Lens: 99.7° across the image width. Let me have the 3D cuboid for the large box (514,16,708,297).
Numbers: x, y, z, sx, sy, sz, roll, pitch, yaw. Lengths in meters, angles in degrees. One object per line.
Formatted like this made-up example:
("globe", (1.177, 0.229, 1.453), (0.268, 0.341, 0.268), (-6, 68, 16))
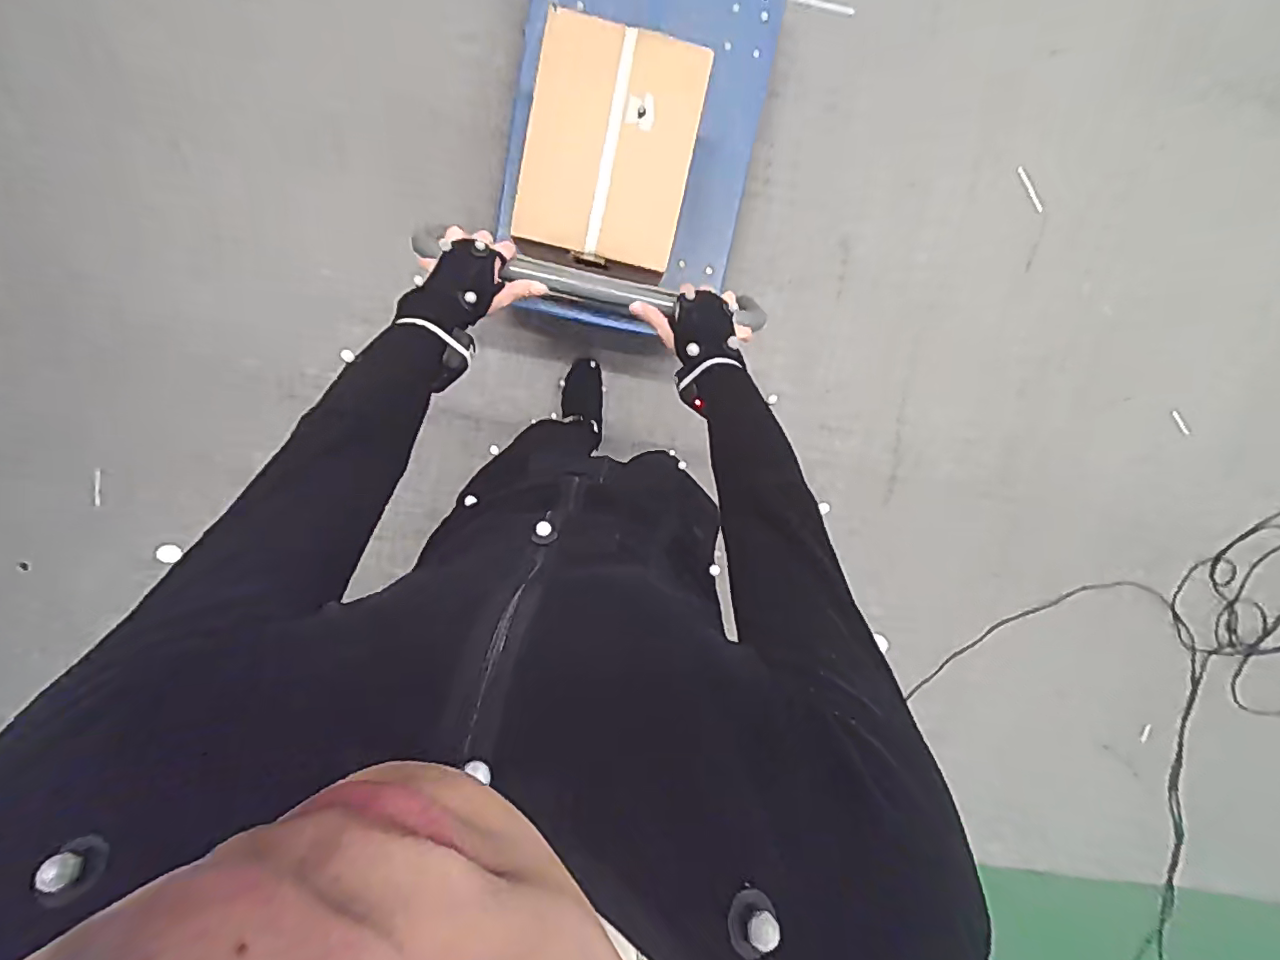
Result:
("large box", (-0.065, -0.652, 1.175), (0.320, 0.320, 0.408), (12, 98, -6))
